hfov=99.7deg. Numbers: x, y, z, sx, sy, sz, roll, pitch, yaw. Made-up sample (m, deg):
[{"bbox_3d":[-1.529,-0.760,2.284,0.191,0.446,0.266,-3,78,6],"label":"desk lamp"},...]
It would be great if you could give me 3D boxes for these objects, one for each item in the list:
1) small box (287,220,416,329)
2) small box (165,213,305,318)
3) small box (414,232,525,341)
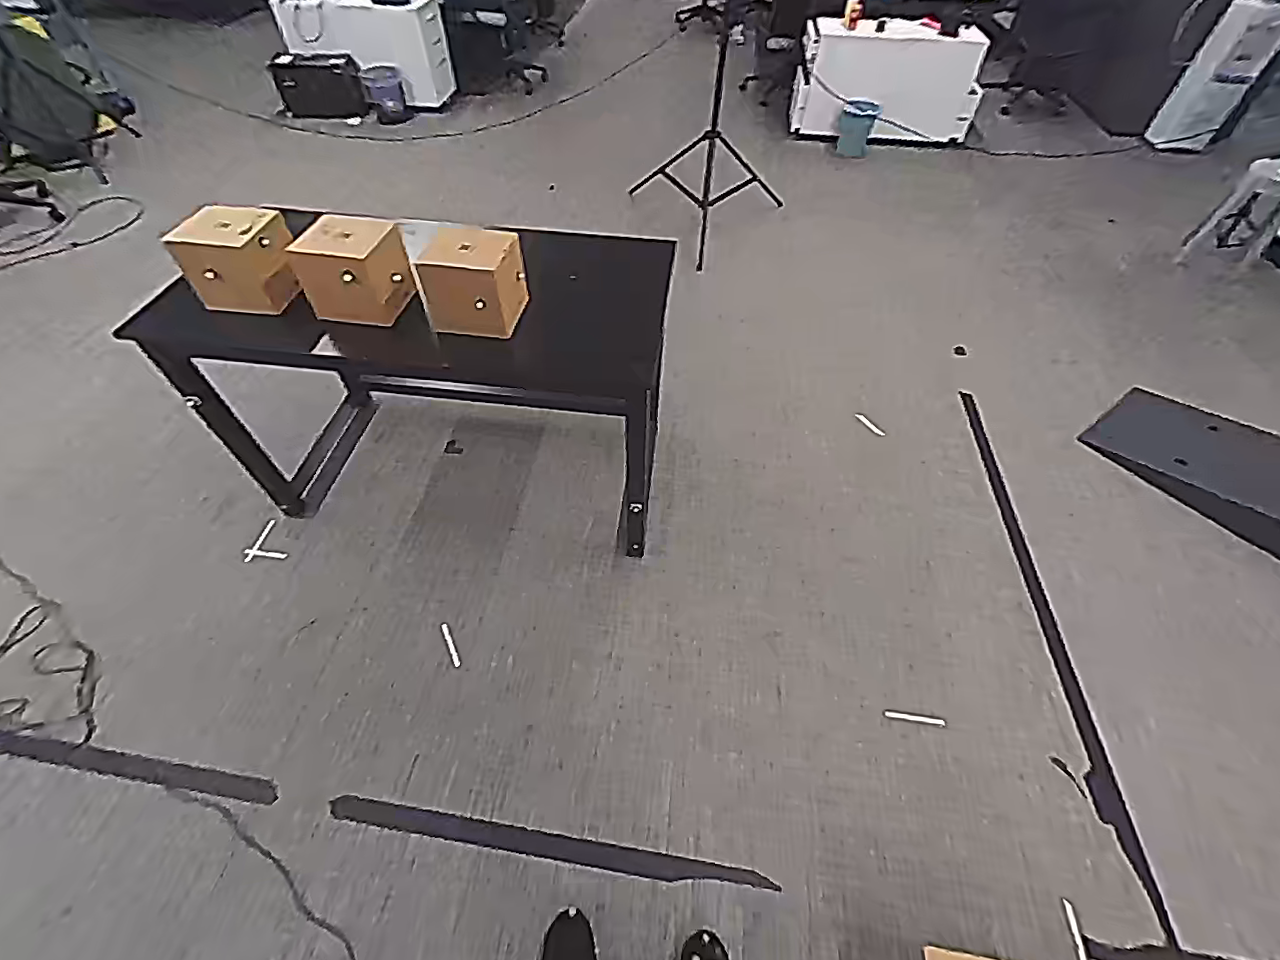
[{"bbox_3d":[-0.639,-0.462,1.225,0.179,0.176,0.168,7,51,5],"label":"small box"},{"bbox_3d":[-0.910,-0.490,1.244,0.179,0.176,0.168,4,51,3],"label":"small box"},{"bbox_3d":[-0.367,-0.428,1.206,0.179,0.176,0.168,6,50,5],"label":"small box"}]
